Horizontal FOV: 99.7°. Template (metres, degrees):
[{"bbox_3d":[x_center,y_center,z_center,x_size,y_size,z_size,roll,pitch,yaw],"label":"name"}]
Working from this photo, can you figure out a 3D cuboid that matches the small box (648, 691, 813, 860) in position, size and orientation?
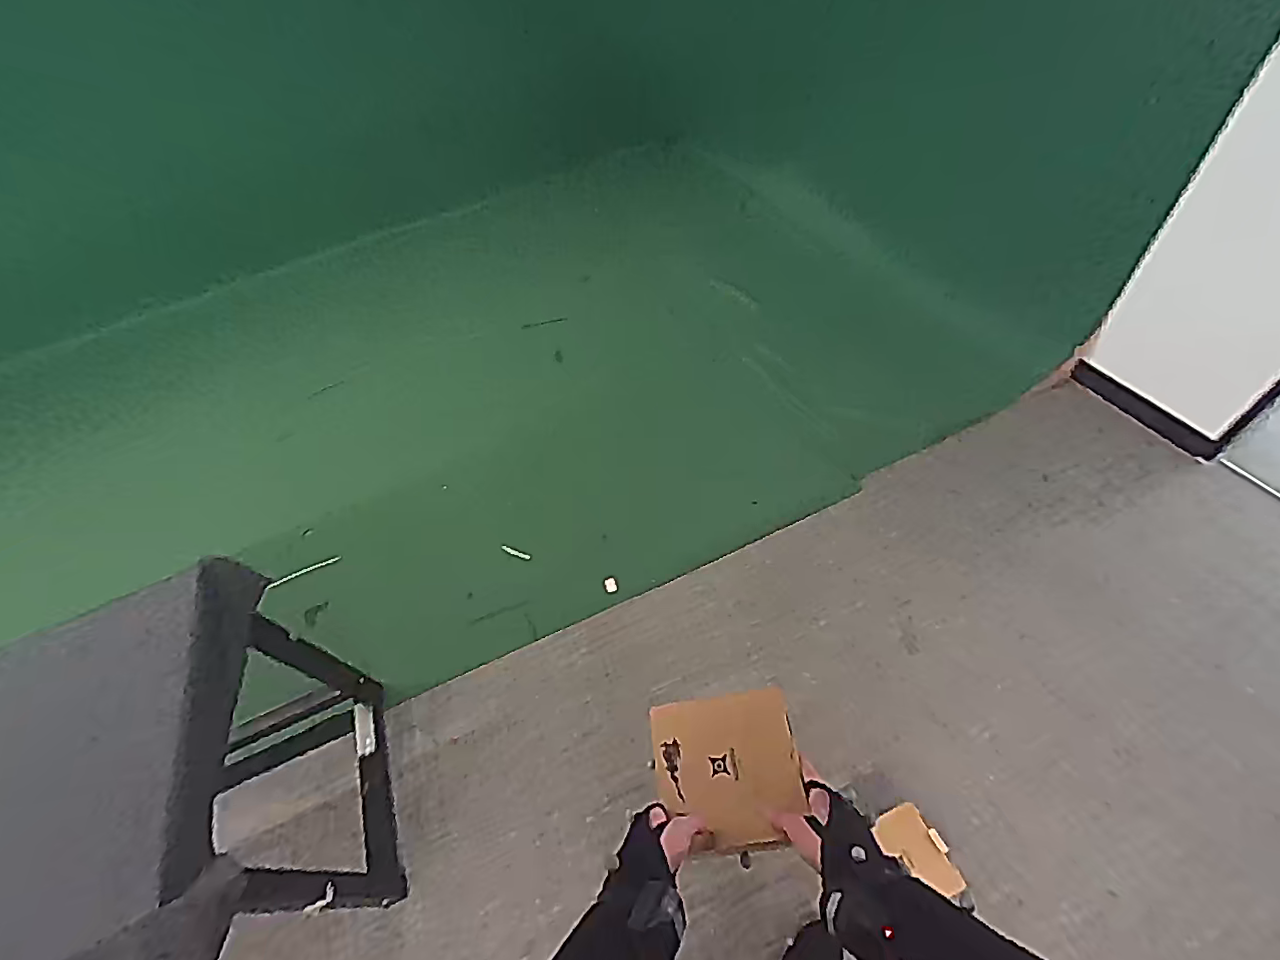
[{"bbox_3d":[0.114,0.397,0.720,0.179,0.176,0.168,-10,52,4],"label":"small box"}]

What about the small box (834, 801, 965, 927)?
[{"bbox_3d":[0.538,0.814,1.149,0.179,0.176,0.168,-21,50,-5],"label":"small box"}]
